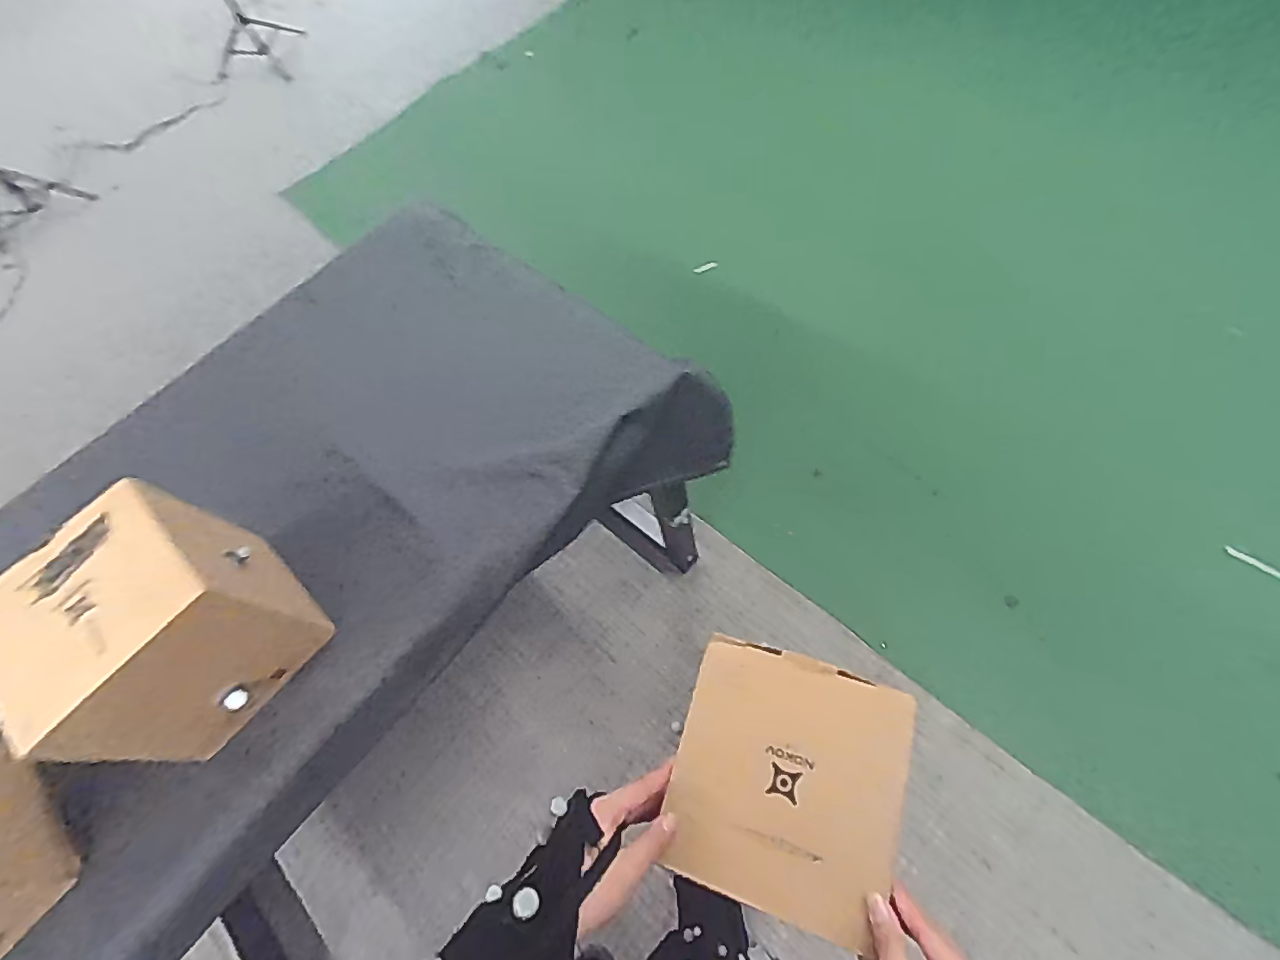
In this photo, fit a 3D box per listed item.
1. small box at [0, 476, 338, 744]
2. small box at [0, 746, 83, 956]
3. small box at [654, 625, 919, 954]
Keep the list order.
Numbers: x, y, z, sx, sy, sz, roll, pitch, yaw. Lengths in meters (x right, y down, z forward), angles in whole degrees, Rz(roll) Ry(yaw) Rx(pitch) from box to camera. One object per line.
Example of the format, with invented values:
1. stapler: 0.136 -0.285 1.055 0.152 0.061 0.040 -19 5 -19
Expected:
1. small box: -0.446 0.133 0.524 0.179 0.176 0.168 35 74 24
2. small box: -0.648 0.342 0.453 0.179 0.176 0.168 34 72 23
3. small box: 0.123 0.247 0.476 0.168 0.176 0.179 13 70 16
